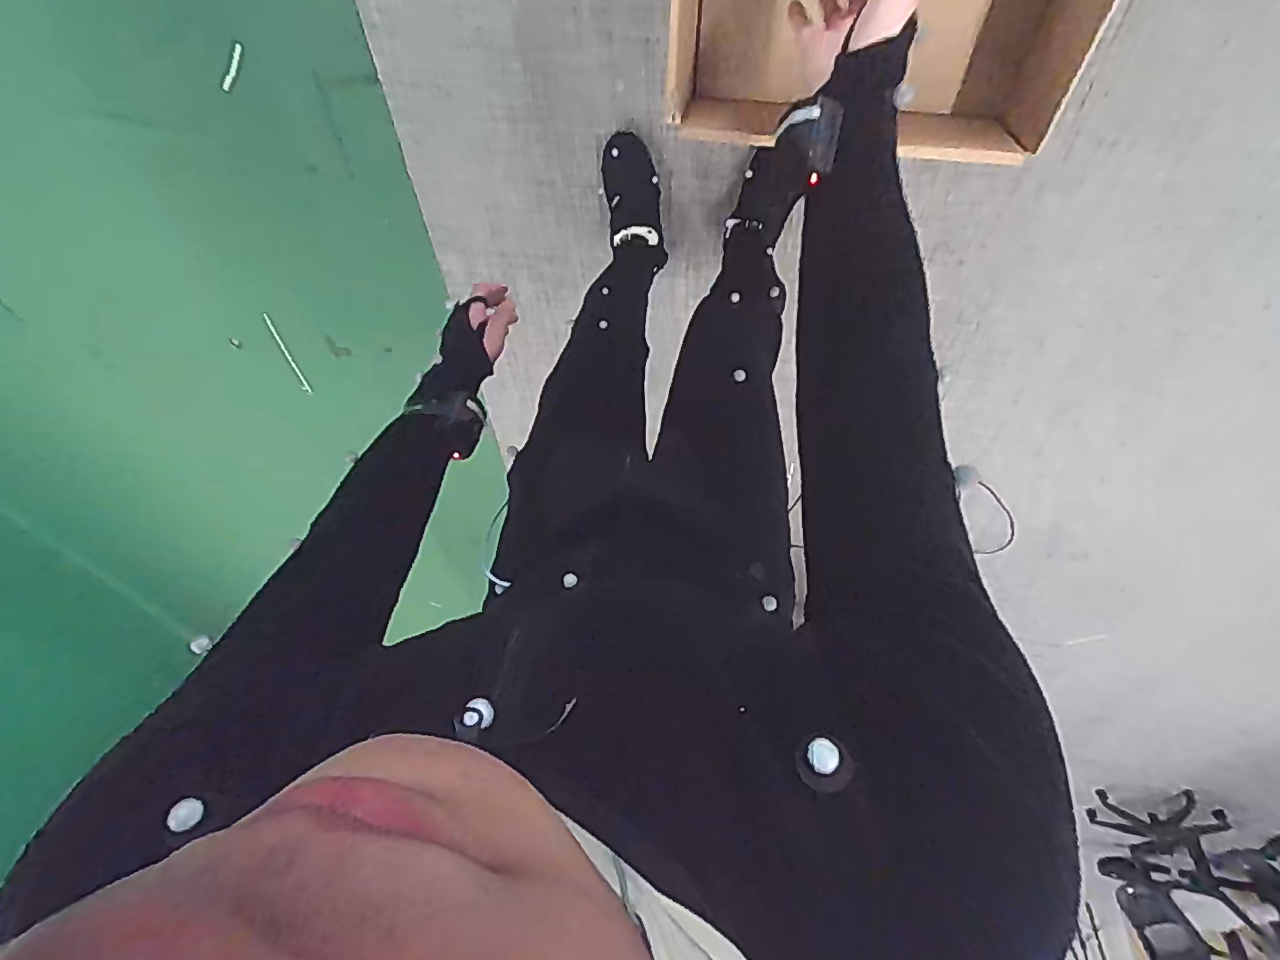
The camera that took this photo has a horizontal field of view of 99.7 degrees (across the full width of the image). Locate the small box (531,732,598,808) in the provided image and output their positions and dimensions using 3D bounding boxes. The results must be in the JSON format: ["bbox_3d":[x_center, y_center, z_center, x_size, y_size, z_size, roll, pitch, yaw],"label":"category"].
[{"bbox_3d":[-0.245,0.944,1.769,0.179,0.176,0.168,12,139,2],"label":"small box"}]
